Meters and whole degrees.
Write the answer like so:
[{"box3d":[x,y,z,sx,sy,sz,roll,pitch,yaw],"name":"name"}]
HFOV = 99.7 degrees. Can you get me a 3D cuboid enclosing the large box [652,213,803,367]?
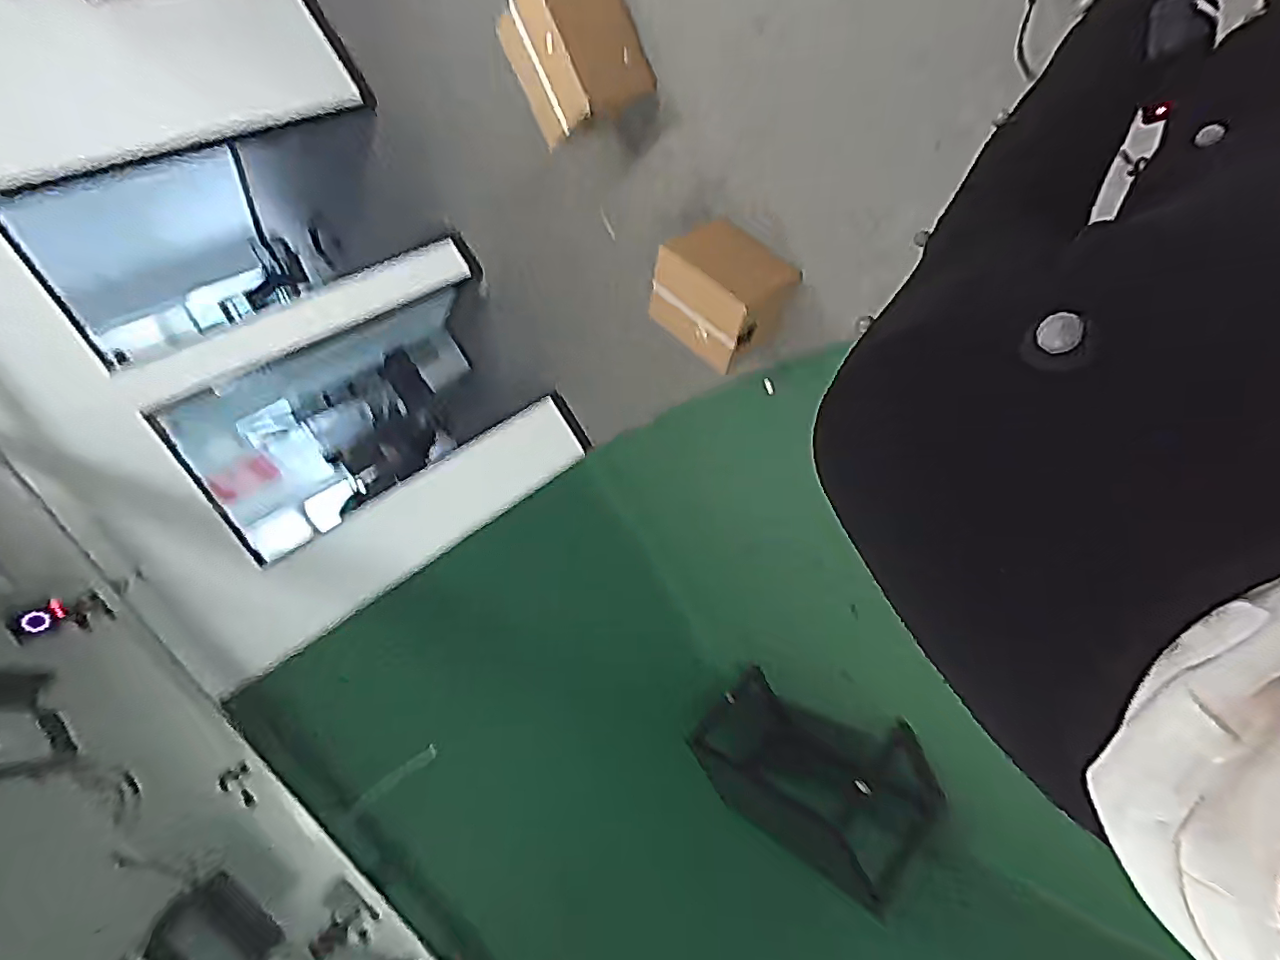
[{"box3d":[0.303,-0.697,1.973,0.408,0.320,0.320,43,153,18],"name":"large box"}]
